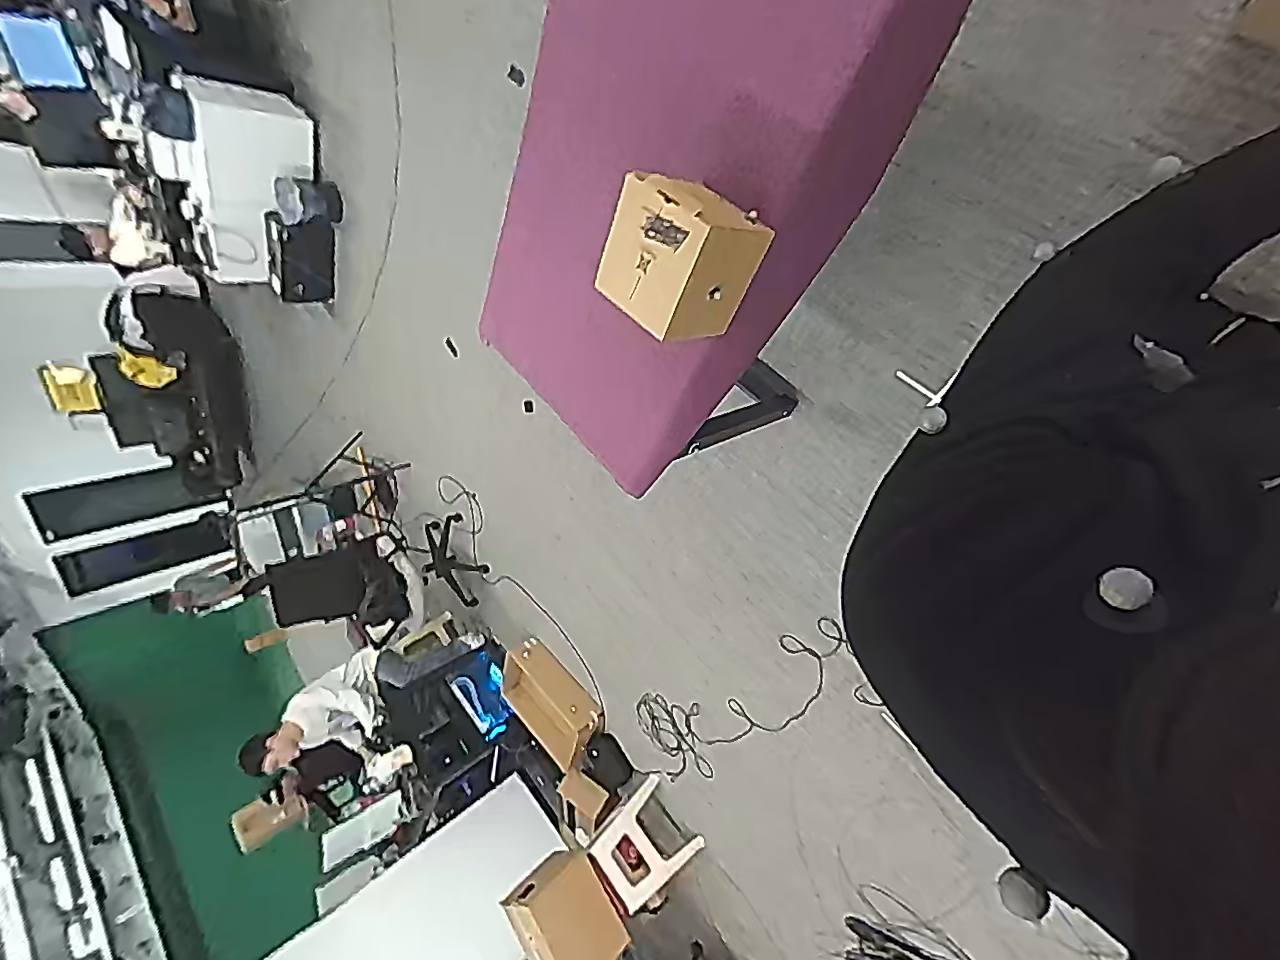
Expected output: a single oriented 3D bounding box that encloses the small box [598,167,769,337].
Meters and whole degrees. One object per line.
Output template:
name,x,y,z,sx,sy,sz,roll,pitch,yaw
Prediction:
small box,0.070,-0.344,0.826,0.168,0.176,0.179,46,133,23
